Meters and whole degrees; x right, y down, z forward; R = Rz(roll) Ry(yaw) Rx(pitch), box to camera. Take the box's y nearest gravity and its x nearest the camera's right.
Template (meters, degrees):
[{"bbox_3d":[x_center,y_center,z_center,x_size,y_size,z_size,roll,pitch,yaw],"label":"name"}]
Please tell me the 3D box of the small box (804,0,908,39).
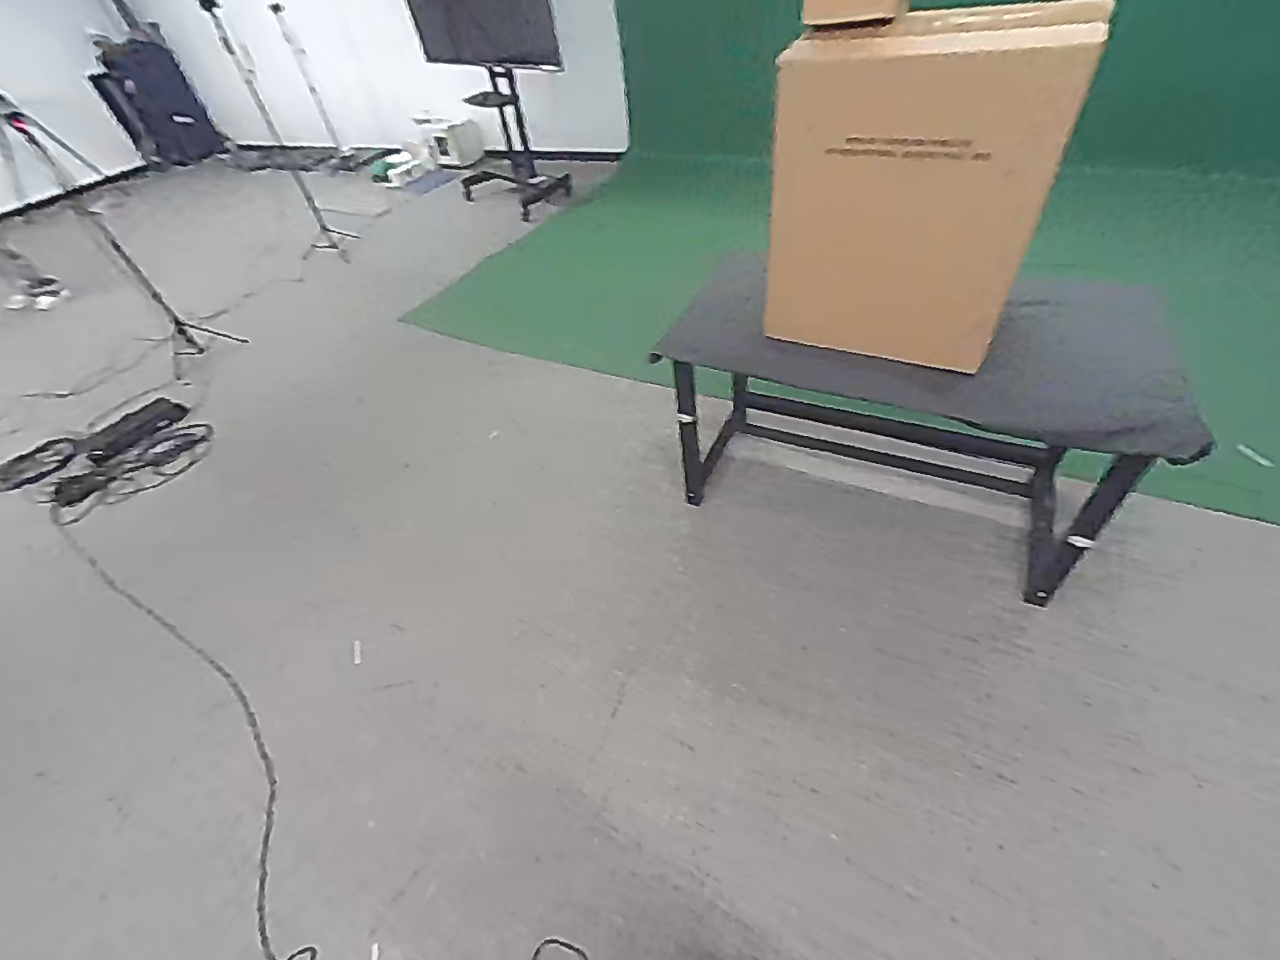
[{"bbox_3d":[0.444,-1.001,1.089,0.179,0.176,0.168,18,44,23],"label":"small box"}]
